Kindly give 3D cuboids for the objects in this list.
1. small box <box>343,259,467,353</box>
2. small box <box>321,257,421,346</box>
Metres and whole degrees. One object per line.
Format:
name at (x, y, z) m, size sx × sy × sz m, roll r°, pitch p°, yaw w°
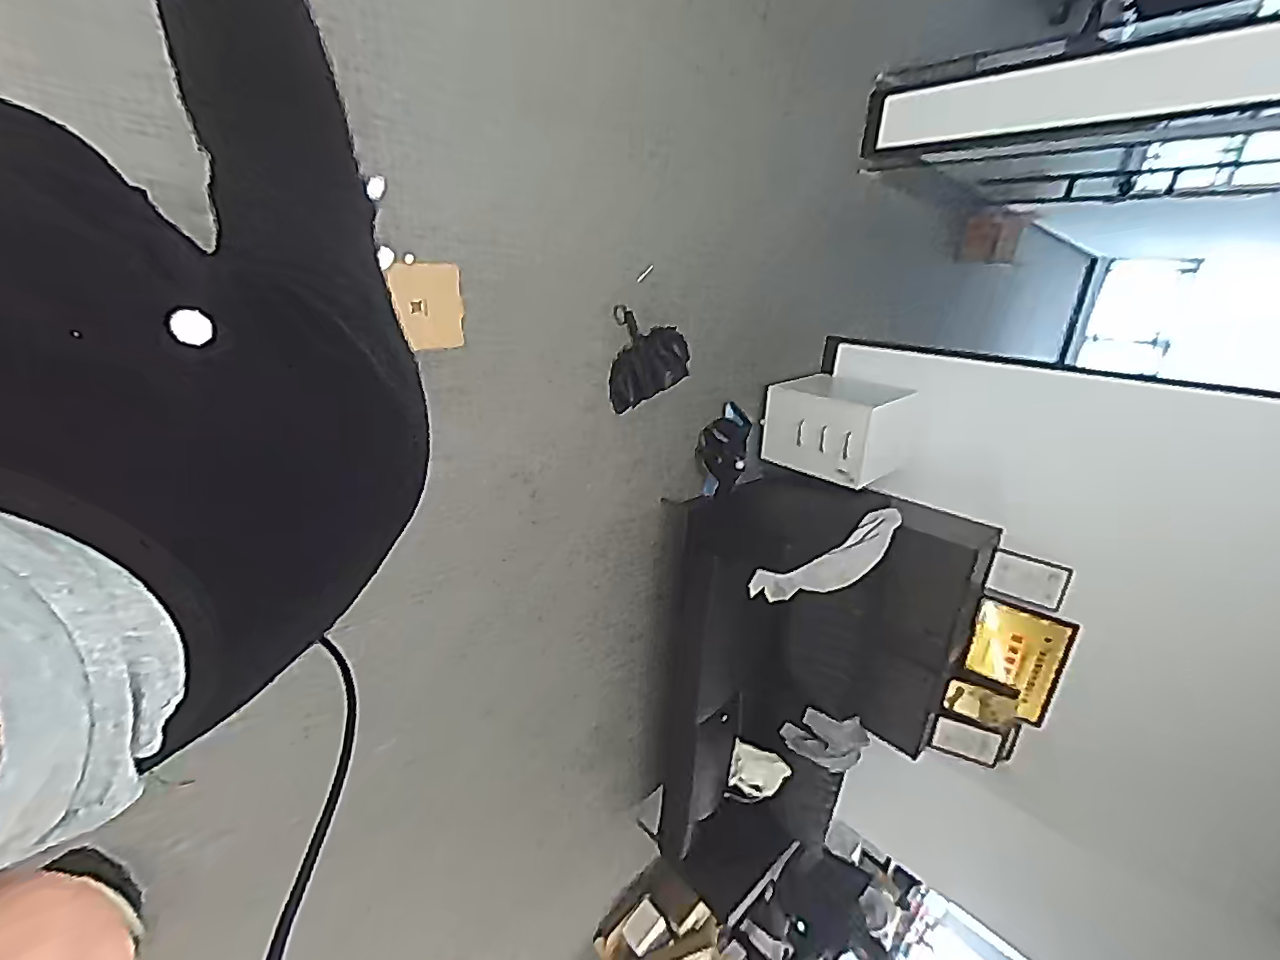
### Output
small box at (-0.482, -0.362, 1.115) m, size 0.179 × 0.176 × 0.168 m, roll -19°, pitch 120°, yaw -42°
small box at (-0.595, -0.408, 1.223) m, size 0.168 × 0.176 × 0.179 m, roll -20°, pitch 120°, yaw -40°
